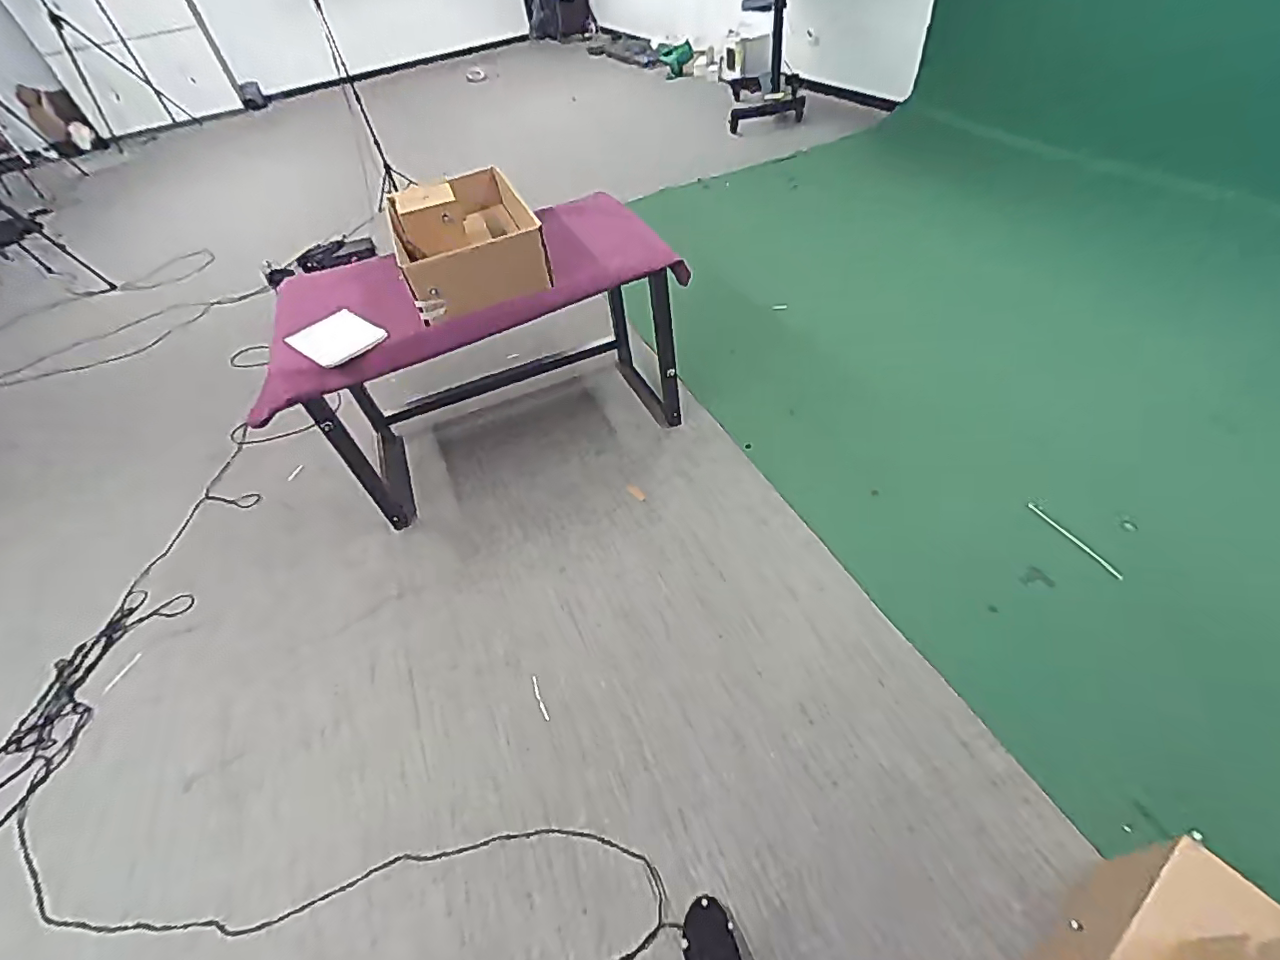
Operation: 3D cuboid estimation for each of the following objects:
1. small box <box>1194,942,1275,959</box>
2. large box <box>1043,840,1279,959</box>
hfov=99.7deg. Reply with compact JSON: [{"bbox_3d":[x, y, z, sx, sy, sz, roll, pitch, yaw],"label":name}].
[{"bbox_3d":[0.815,0.748,0.689,0.168,0.176,0.179,-33,51,-20],"label":"small box"},{"bbox_3d":[0.886,0.899,0.872,0.408,0.320,0.320,-33,51,-22],"label":"large box"}]
